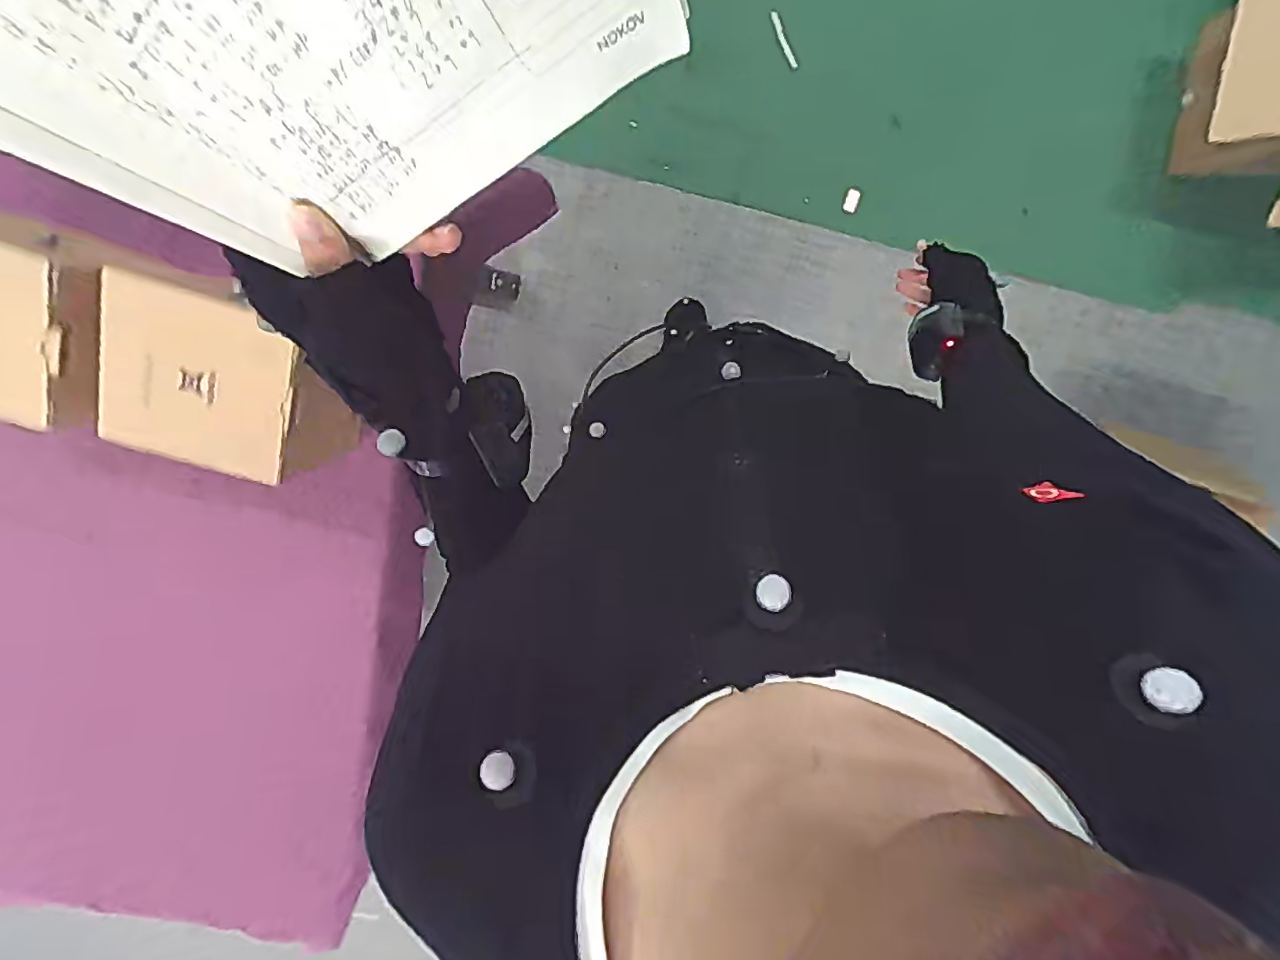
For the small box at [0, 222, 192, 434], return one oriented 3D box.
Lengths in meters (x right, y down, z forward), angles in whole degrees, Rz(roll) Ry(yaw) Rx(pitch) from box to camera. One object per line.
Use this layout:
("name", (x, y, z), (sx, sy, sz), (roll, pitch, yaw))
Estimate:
("small box", (-0.626, -0.167, 0.570), (0.179, 0.176, 0.168), (18, 105, -8))
